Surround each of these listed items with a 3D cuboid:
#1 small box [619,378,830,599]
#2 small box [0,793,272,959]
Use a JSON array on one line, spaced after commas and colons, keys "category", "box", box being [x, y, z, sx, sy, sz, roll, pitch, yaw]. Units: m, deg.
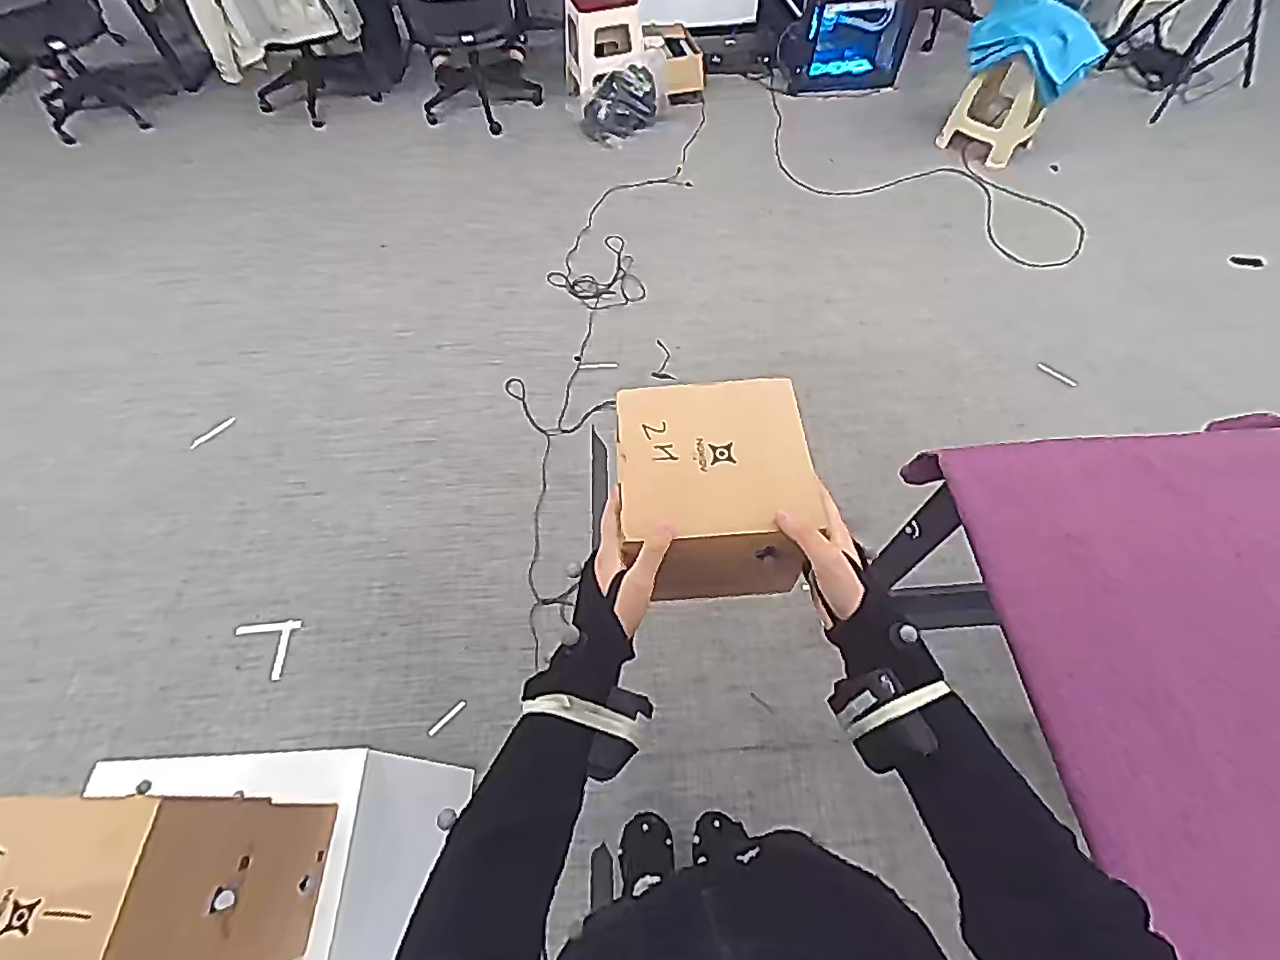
[{"category": "small box", "box": [0.072, 0.016, 0.556, 0.179, 0.176, 0.168, -4, 60, 1]}, {"category": "small box", "box": [-0.500, 0.389, 0.504, 0.179, 0.176, 0.168, -1, 60, 0]}]
